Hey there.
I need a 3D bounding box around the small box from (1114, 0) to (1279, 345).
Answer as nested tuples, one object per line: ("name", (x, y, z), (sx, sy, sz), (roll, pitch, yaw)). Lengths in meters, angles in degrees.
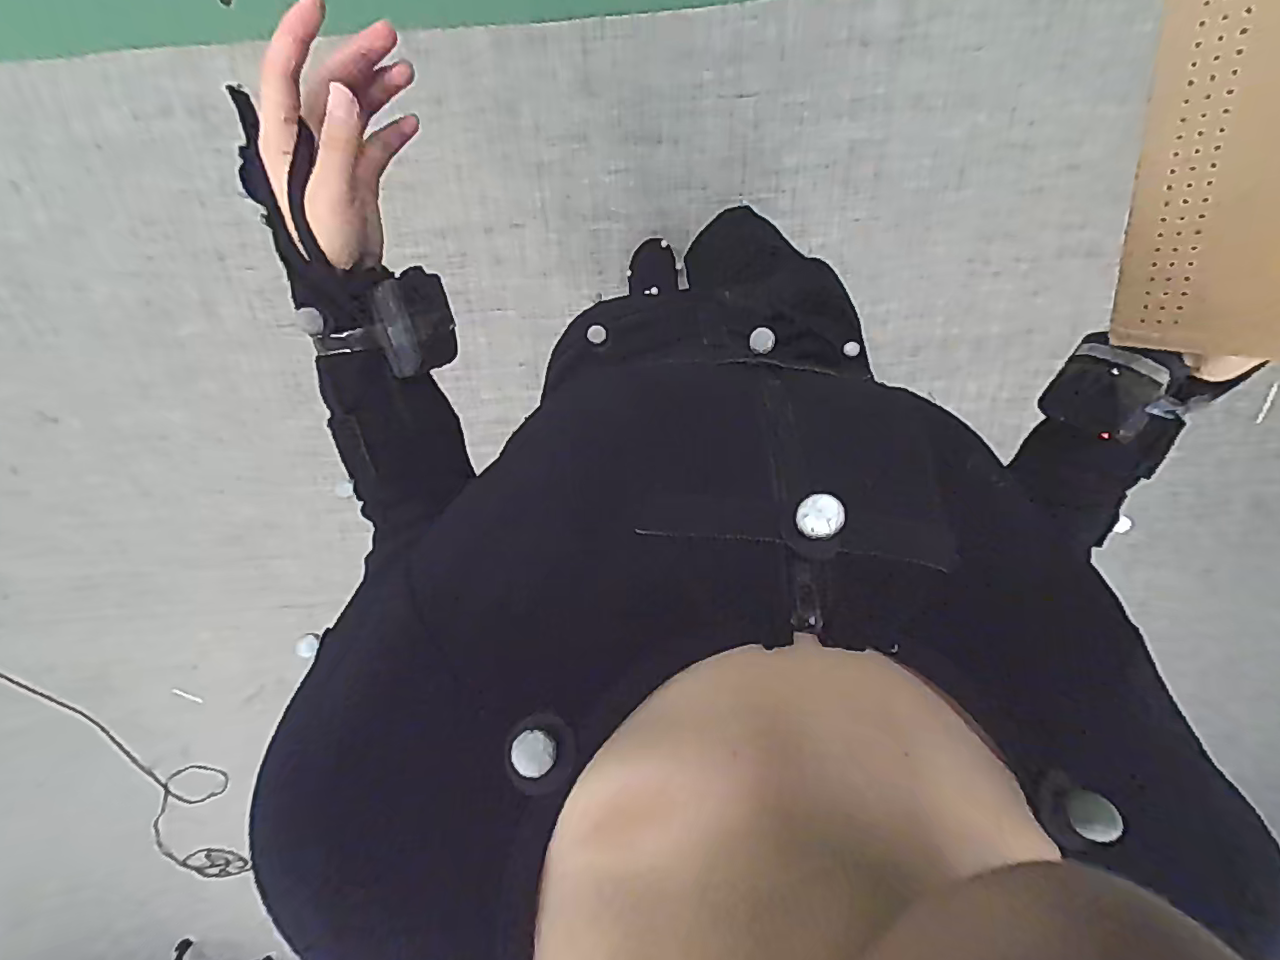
("small box", (0.326, -0.152, 0.200), (0.168, 0.176, 0.179), (-22, 116, -16))
